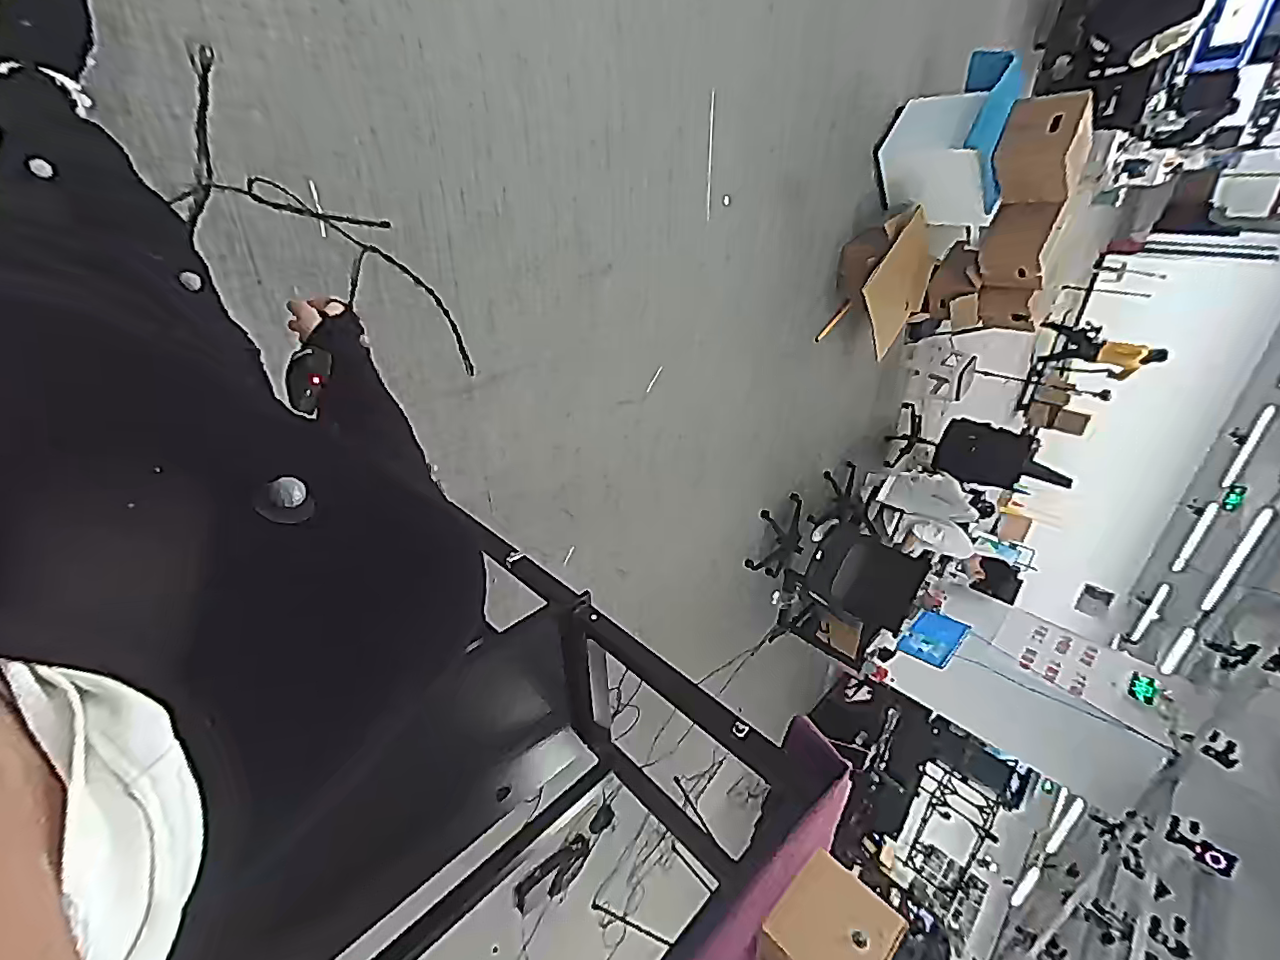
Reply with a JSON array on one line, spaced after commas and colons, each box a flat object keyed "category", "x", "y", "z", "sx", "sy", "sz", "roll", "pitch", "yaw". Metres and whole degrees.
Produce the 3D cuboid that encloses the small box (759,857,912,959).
[{"category": "small box", "x": 0.317, "y": 0.786, "z": 0.899, "sx": 0.179, "sy": 0.176, "sz": 0.168, "roll": -29, "pitch": 129, "yaw": -35}]
